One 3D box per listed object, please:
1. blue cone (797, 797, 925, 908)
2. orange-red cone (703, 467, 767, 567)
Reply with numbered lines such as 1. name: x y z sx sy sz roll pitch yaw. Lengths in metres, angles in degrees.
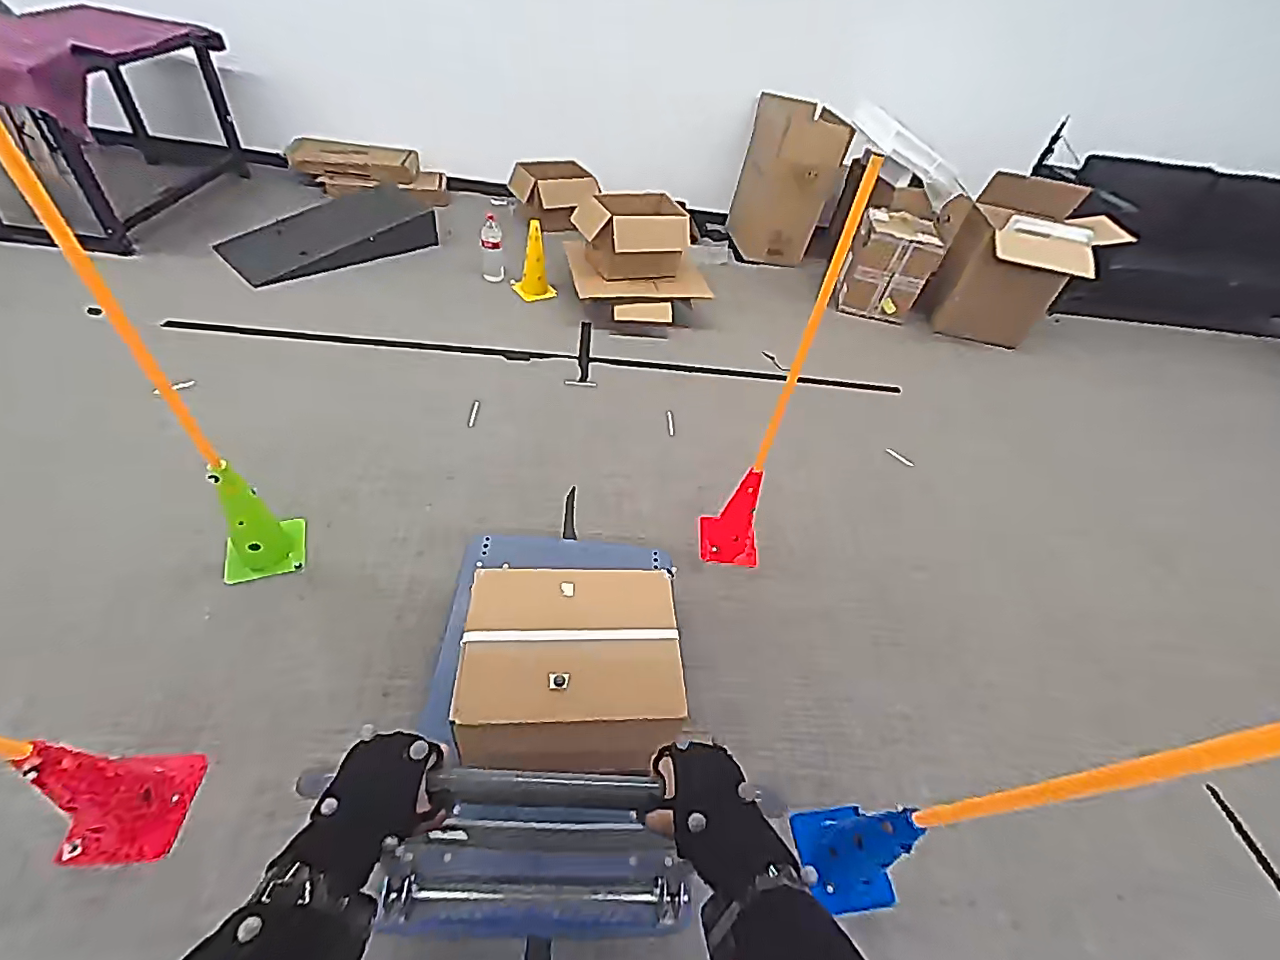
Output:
1. blue cone: 0.501 0.760 1.149 0.193 0.380 0.192 1 45 -10
2. orange-red cone: 0.341 0.092 1.747 0.199 0.360 0.198 9 46 -4
